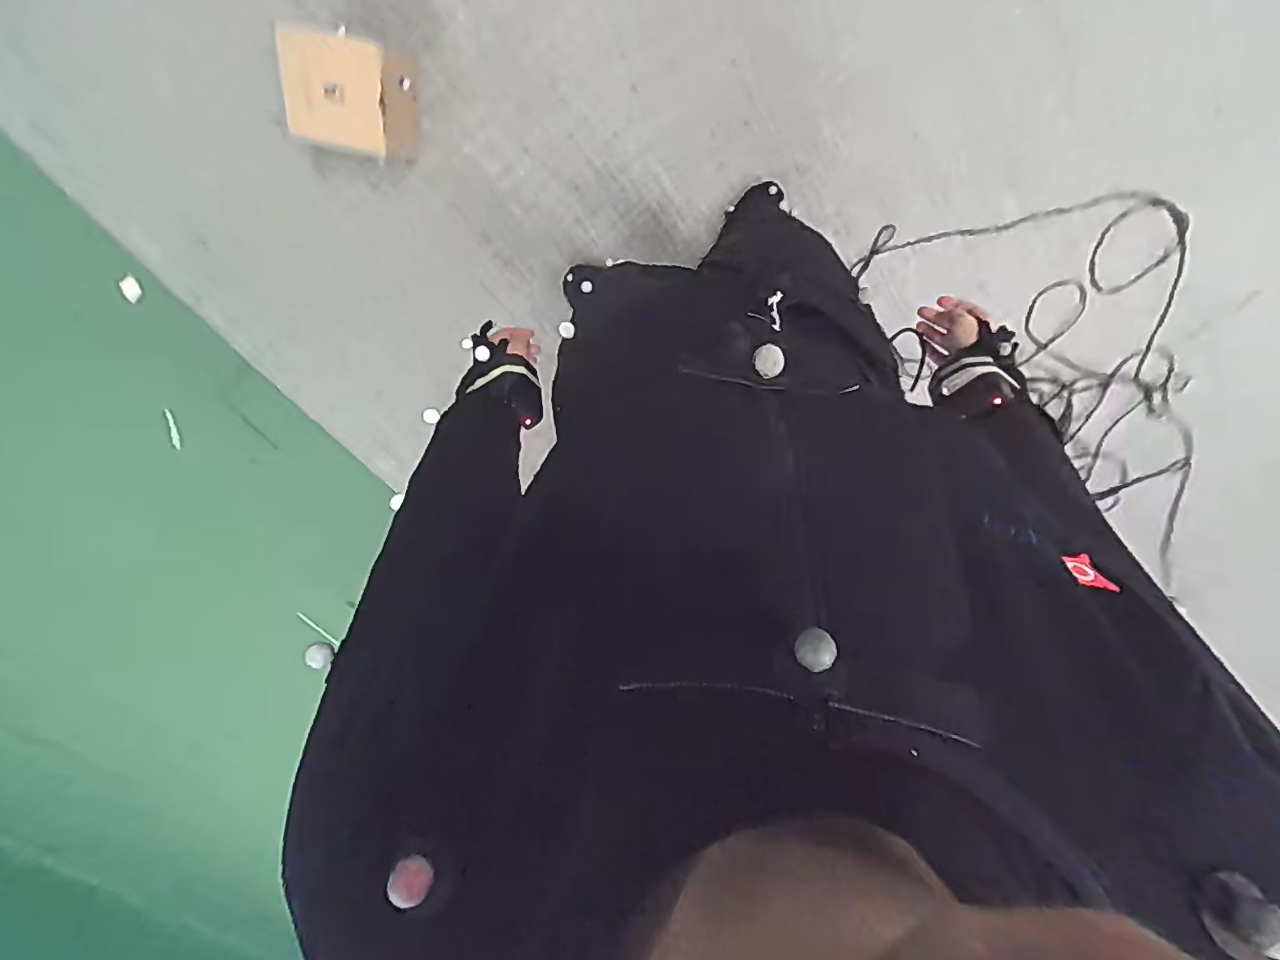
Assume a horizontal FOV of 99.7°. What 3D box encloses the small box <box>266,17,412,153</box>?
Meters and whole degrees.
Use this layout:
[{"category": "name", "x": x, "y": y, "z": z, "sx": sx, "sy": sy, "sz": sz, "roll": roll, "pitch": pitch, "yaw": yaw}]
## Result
[{"category": "small box", "x": -0.529, "y": -0.705, "z": 0.984, "sx": 0.179, "sy": 0.176, "sz": 0.168, "roll": 10, "pitch": 119, "yaw": -2}]
